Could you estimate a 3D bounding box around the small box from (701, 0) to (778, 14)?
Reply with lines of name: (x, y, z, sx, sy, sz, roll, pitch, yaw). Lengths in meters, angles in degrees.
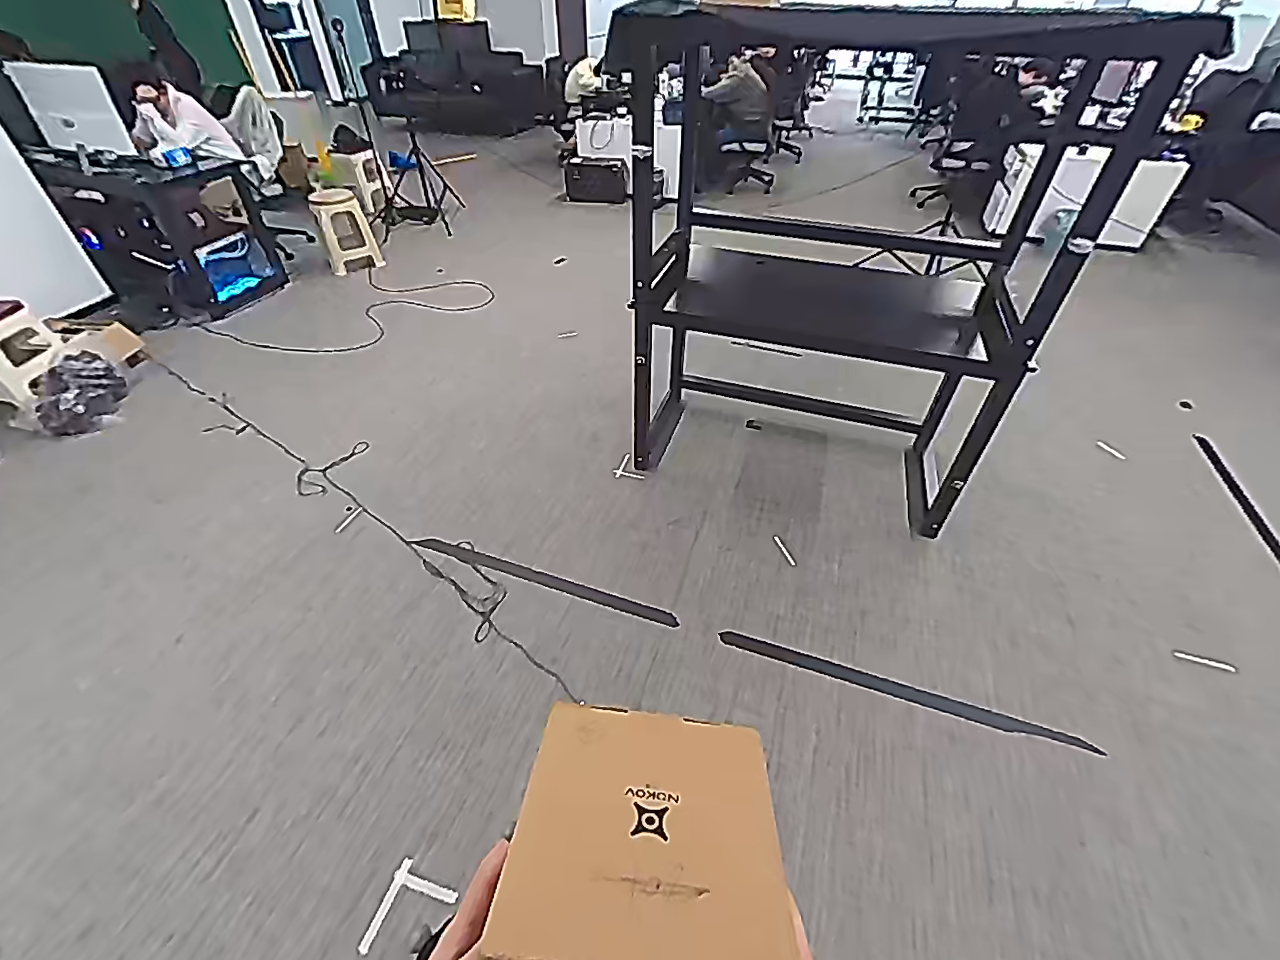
small box: (0.242, -1.190, 1.247, 0.168, 0.176, 0.179, 15, 42, 13)

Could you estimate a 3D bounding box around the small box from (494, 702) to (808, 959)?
small box: (0.002, 0.290, 0.372, 0.168, 0.176, 0.179, 7, 21, 1)
